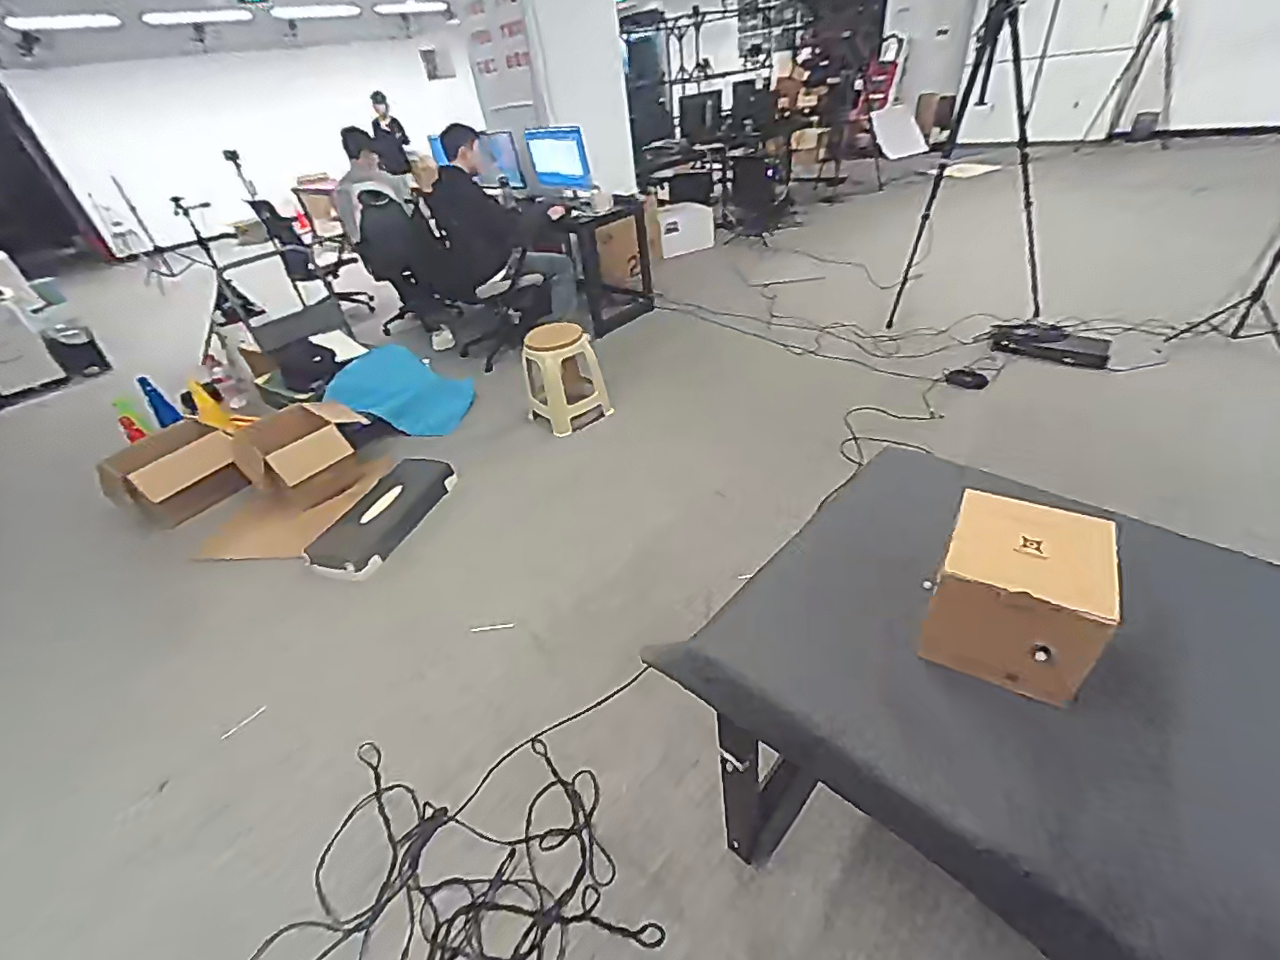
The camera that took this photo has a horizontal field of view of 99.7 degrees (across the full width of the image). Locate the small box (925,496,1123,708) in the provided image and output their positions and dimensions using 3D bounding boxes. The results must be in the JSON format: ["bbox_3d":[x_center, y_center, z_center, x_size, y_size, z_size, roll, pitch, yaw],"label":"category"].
[{"bbox_3d":[0.481,0.152,0.692,0.168,0.176,0.179,17,42,29],"label":"small box"}]
